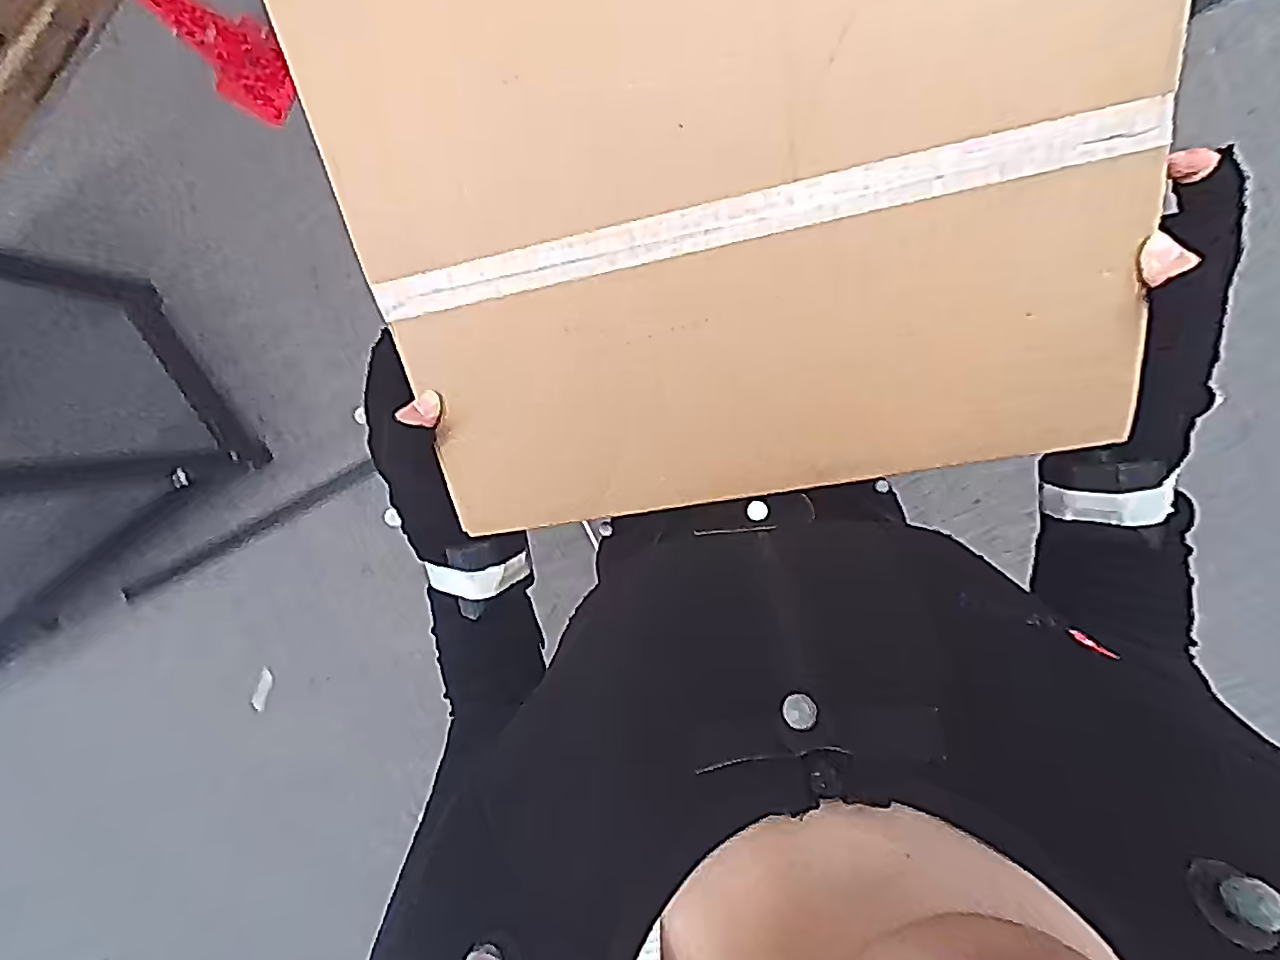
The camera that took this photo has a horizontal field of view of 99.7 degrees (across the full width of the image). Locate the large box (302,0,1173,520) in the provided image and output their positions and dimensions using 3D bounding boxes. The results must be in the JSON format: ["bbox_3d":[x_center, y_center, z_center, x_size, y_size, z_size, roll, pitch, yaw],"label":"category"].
[{"bbox_3d":[0.063,-0.195,0.427,0.408,0.320,0.320,-8,113,9],"label":"large box"}]
